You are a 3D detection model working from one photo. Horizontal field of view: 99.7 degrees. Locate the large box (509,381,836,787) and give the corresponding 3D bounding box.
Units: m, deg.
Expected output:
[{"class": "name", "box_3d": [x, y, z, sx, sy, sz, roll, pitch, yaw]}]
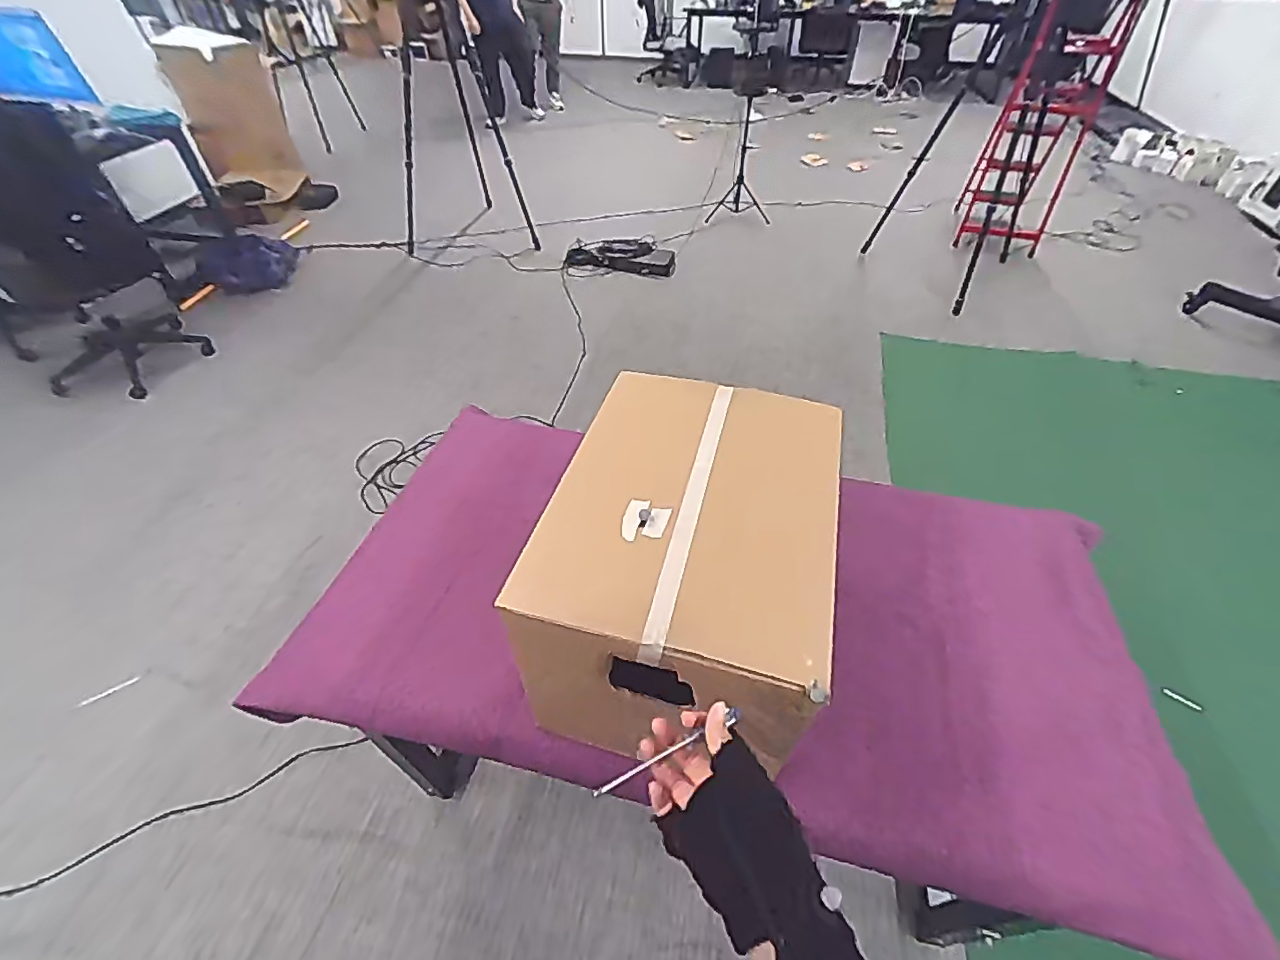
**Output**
[{"class": "large box", "box_3d": [0.064, 0.126, 0.742, 0.320, 0.320, 0.408, 12, 47, 11]}]
